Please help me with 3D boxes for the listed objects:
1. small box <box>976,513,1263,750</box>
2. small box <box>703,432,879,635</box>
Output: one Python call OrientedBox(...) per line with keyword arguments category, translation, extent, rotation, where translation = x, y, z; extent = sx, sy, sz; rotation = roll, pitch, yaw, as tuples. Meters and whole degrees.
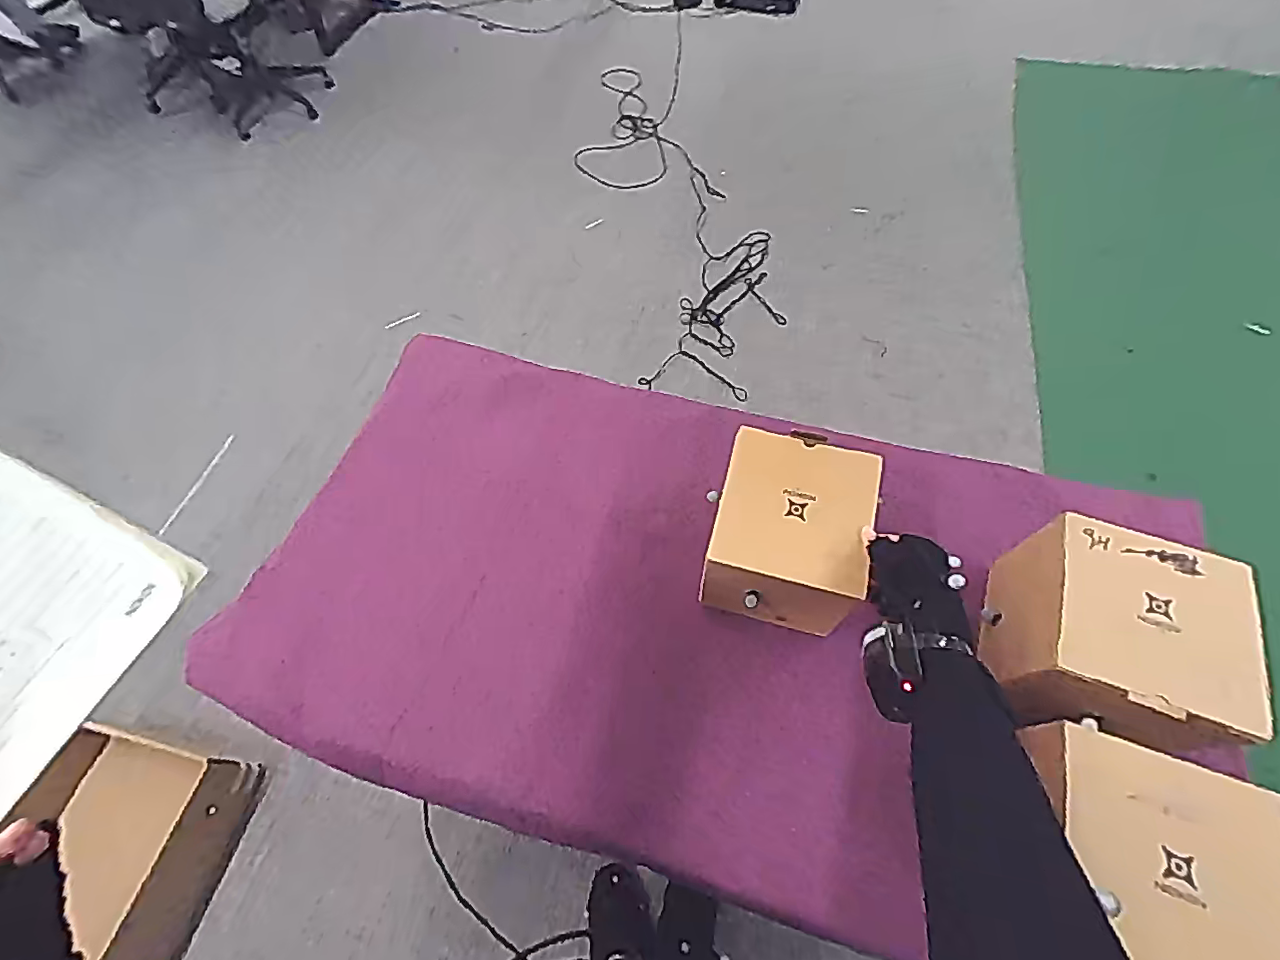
OrientedBox(category="small box", translation=(0.491, 0.169, 0.581), extent=(0.168, 0.176, 0.179), rotation=(20, 64, 14))
OrientedBox(category="small box", translation=(0.176, 0.072, 0.662), extent=(0.168, 0.176, 0.179), rotation=(13, 61, 11))
